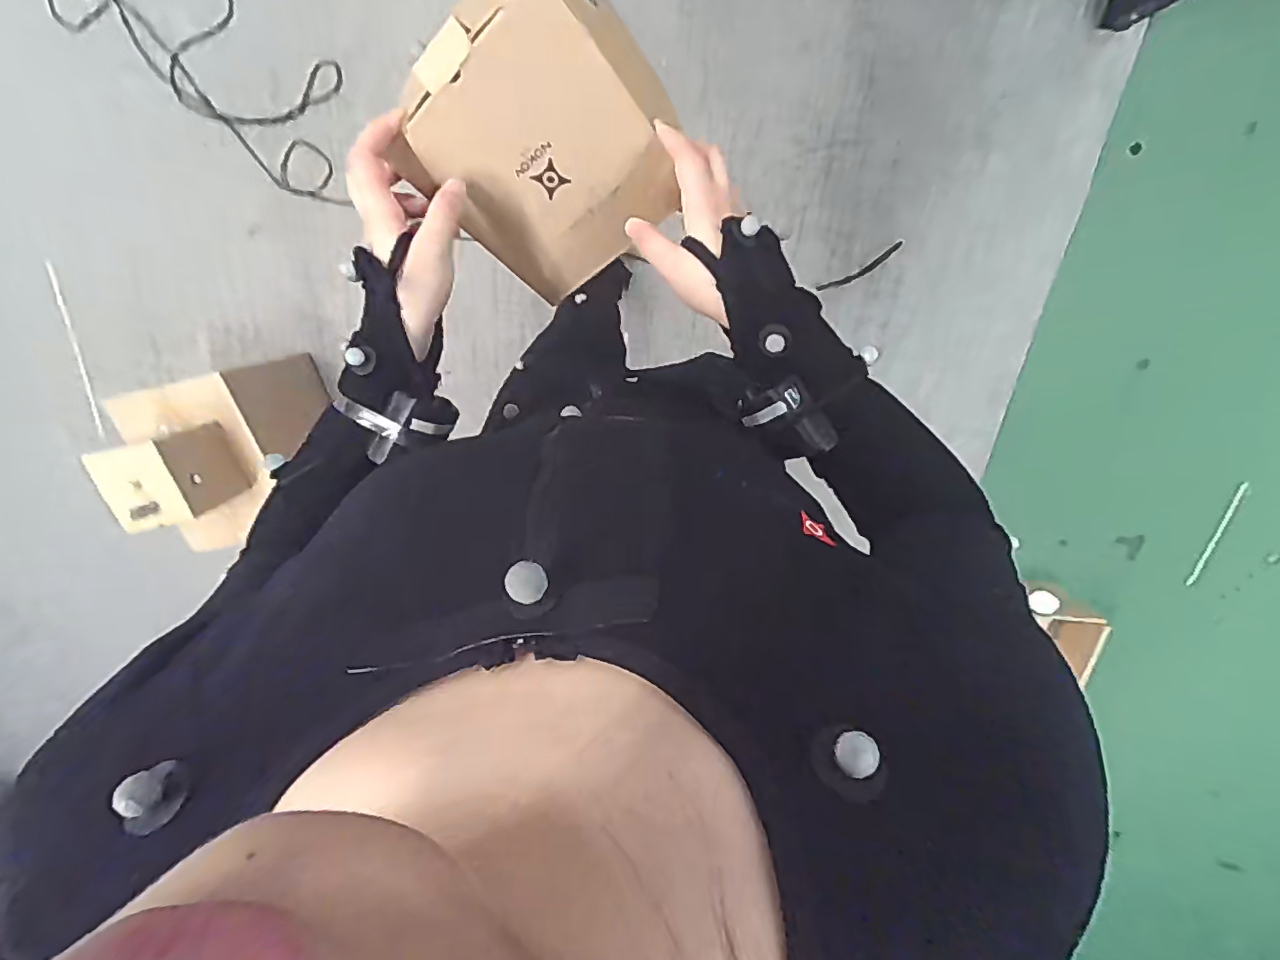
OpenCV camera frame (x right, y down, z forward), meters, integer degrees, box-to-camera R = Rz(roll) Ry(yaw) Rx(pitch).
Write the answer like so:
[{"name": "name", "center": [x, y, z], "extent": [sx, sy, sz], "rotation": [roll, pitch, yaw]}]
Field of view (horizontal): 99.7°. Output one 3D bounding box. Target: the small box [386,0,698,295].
[{"name": "small box", "center": [-0.075, -0.303, 0.454], "extent": [0.168, 0.176, 0.179], "rotation": [-27, 140, 29]}]

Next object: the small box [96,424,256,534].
[{"name": "small box", "center": [-1.001, -0.007, 1.186], "extent": [0.168, 0.176, 0.179], "rotation": [-11, 110, 7]}]
